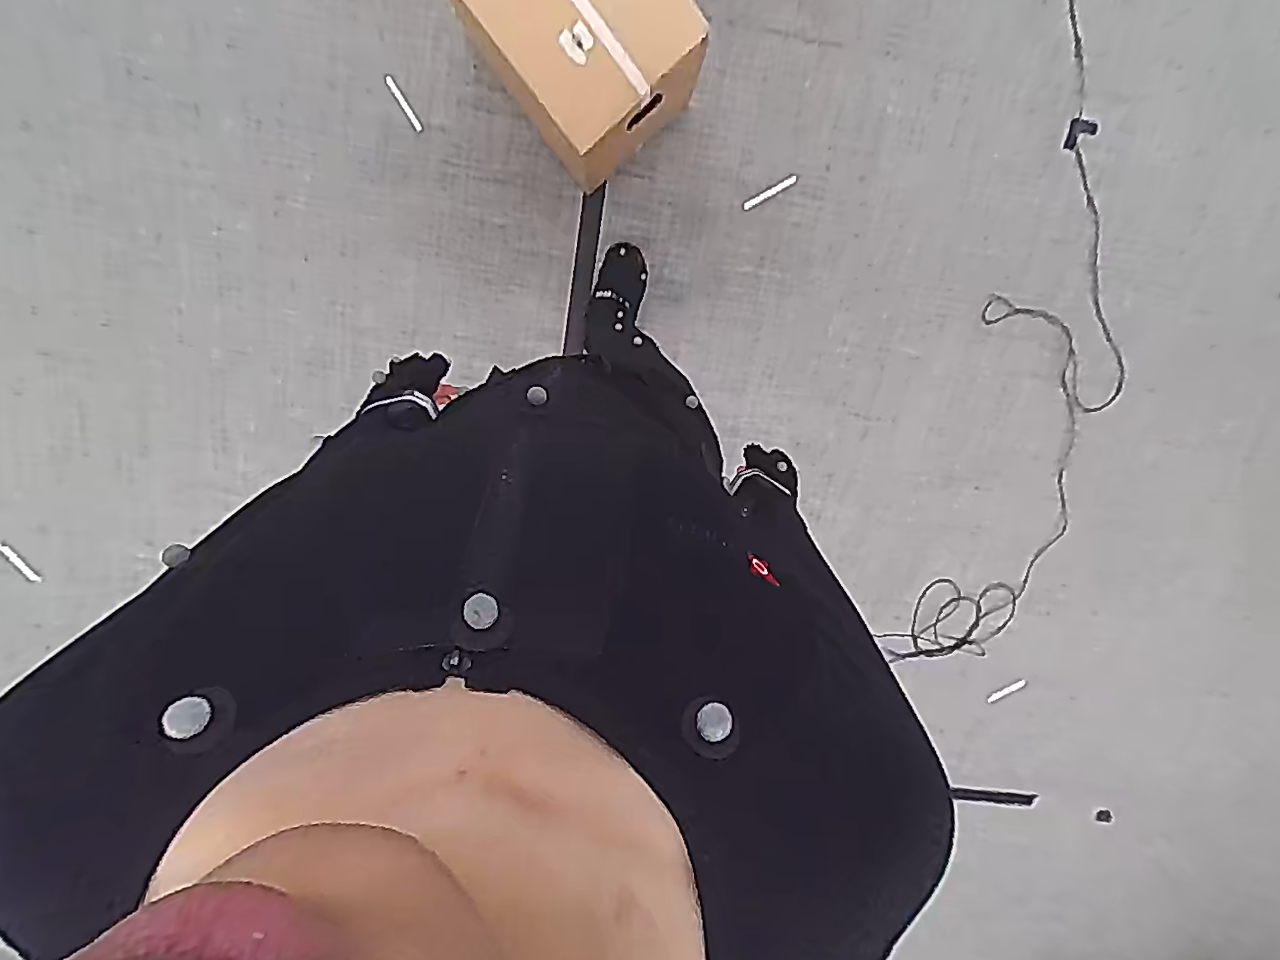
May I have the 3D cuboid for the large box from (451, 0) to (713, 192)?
[{"bbox_3d":[-0.122,-0.881,1.084,0.320,0.320,0.408,-40,105,8],"label":"large box"}]
